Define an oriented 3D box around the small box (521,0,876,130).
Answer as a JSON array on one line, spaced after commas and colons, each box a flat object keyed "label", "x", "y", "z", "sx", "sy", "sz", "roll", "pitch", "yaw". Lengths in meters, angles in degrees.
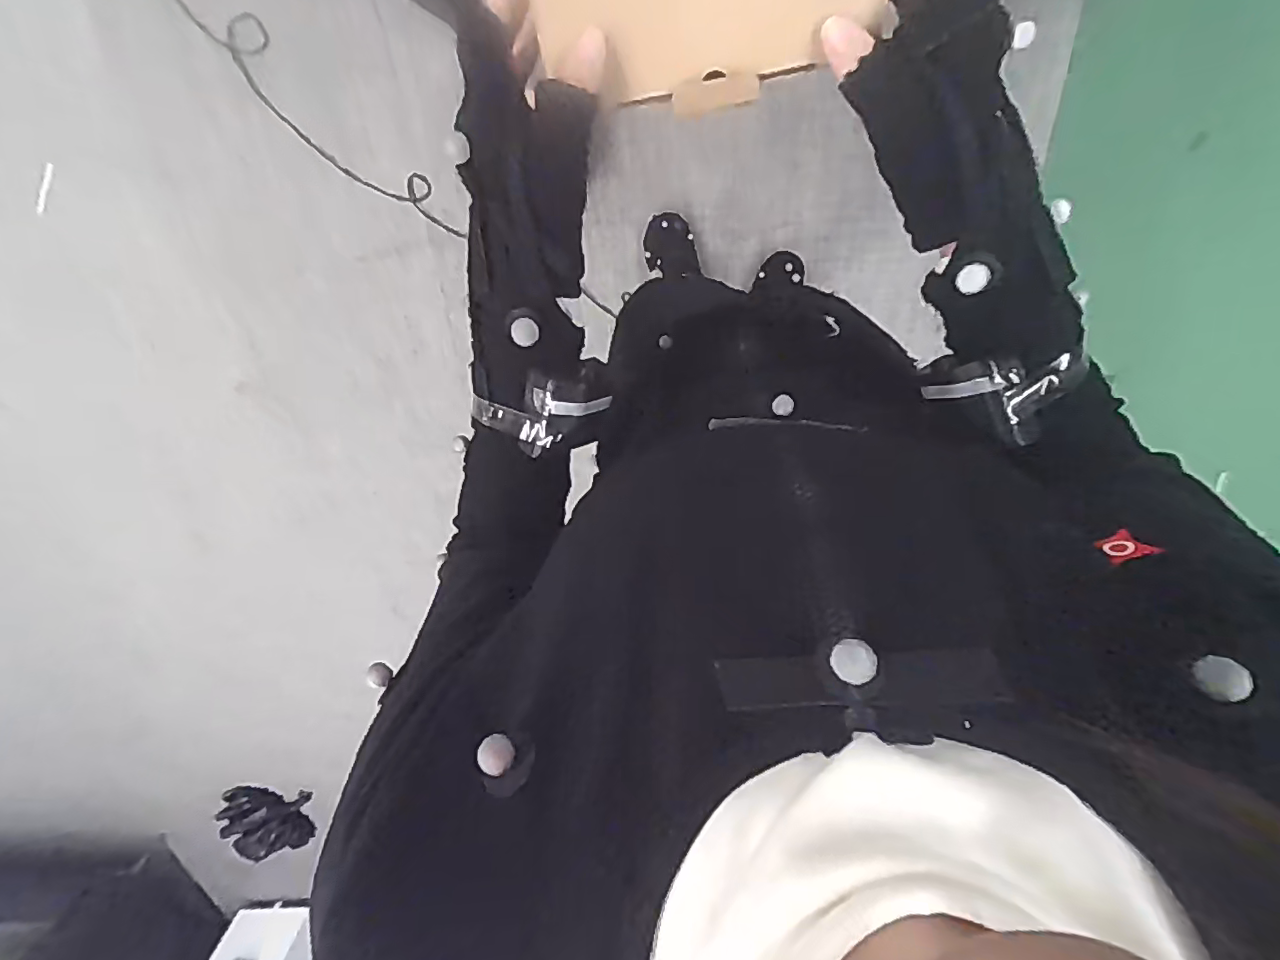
[{"label": "small box", "x": 0.016, "y": -0.314, "z": 0.274, "sx": 0.168, "sy": 0.176, "sz": 0.179, "roll": -10, "pitch": 134, "yaw": 8}]
